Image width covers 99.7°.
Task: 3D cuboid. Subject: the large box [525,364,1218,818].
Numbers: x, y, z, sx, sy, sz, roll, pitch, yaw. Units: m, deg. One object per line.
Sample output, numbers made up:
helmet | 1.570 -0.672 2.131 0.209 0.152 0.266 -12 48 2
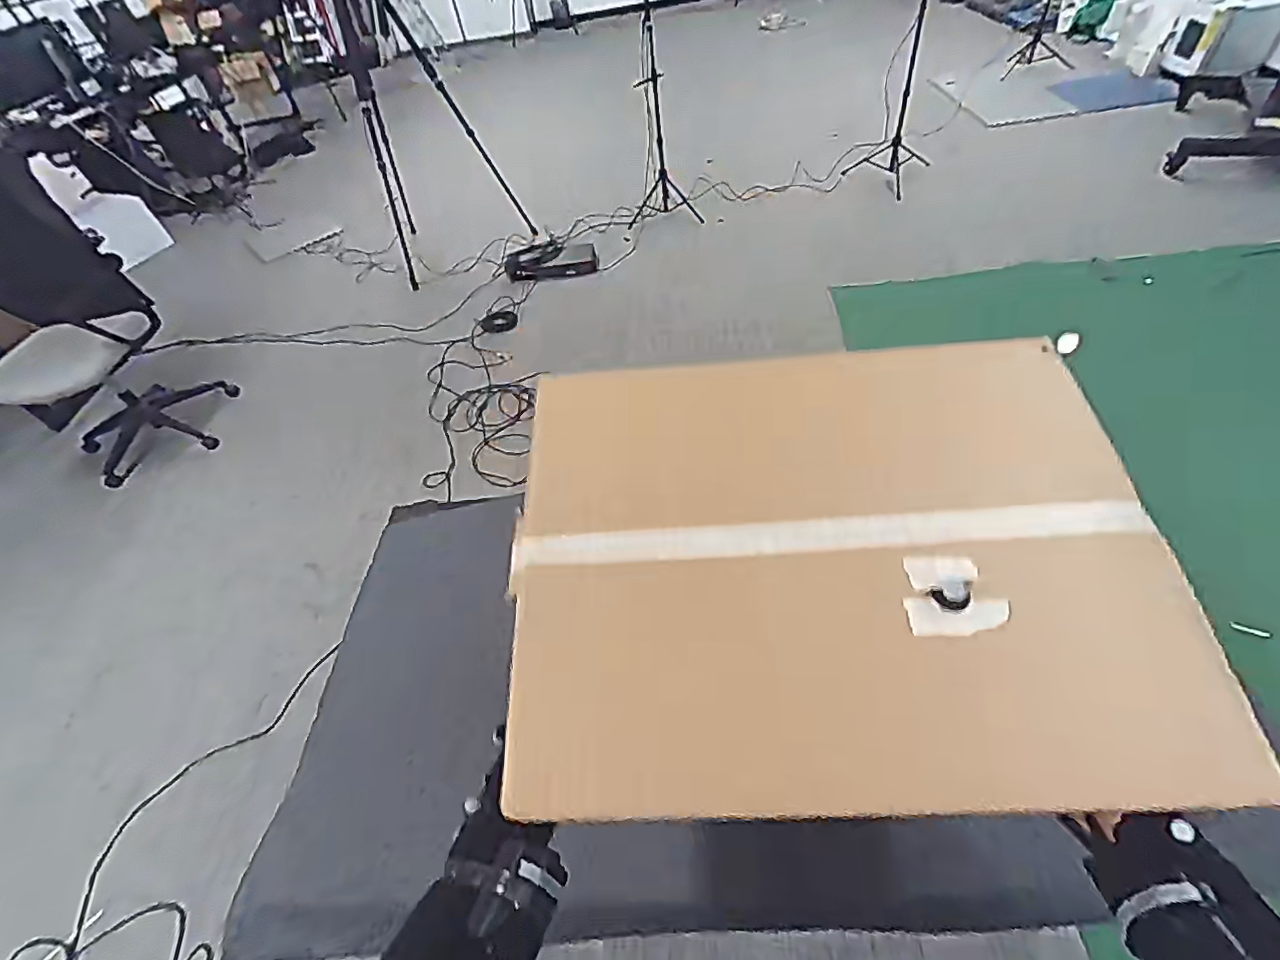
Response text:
large box | 0.132 0.124 0.512 0.408 0.320 0.320 -4 61 3
